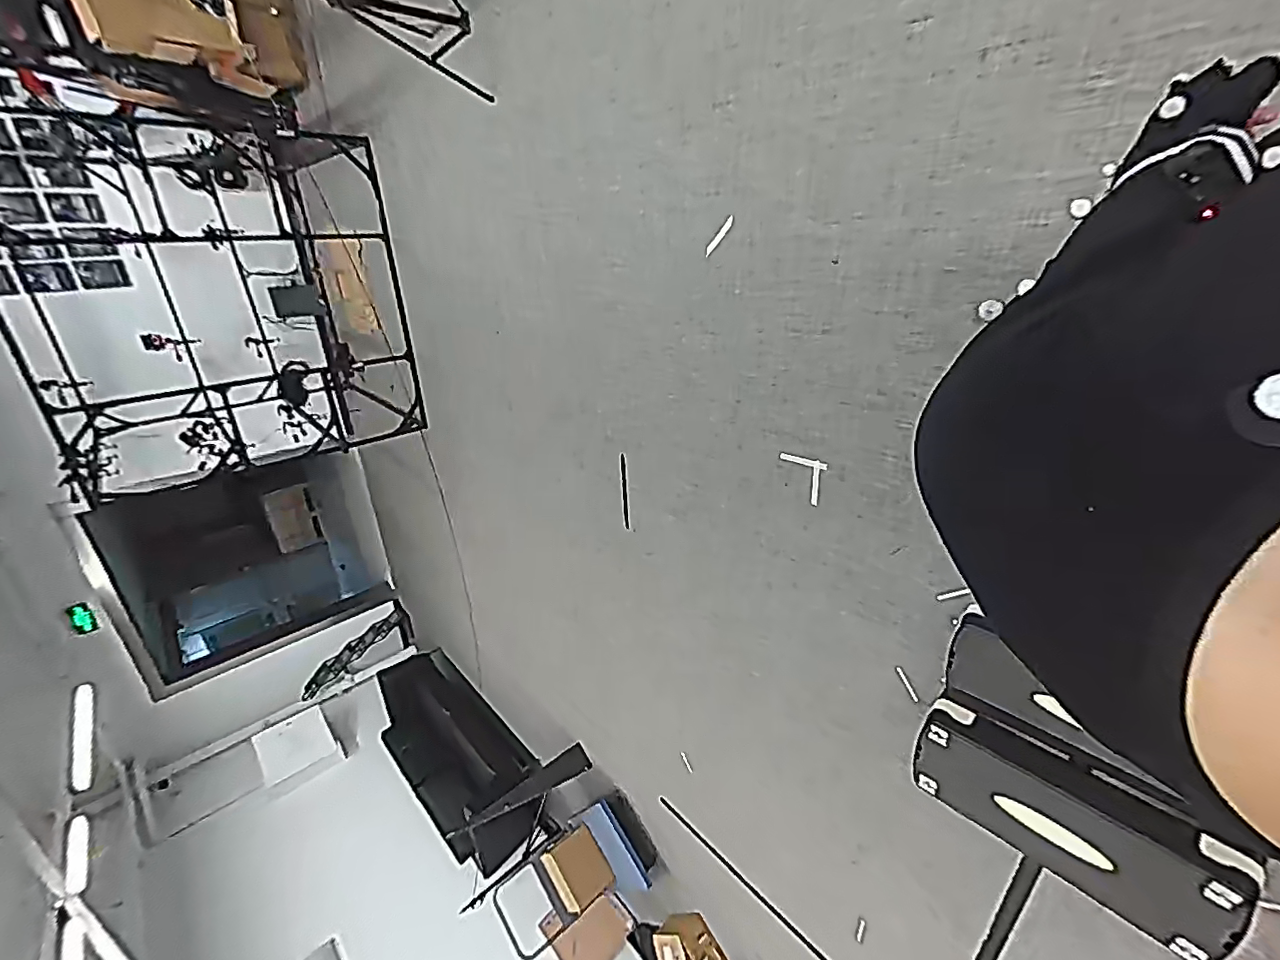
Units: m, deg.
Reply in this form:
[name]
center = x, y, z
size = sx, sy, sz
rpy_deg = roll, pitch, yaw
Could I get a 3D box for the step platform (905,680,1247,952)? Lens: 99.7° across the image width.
[step platform]
center = 1.077, 0.837, 1.425
size = 0.684, 0.204, 0.286
rpy_deg = 22, 124, 45
